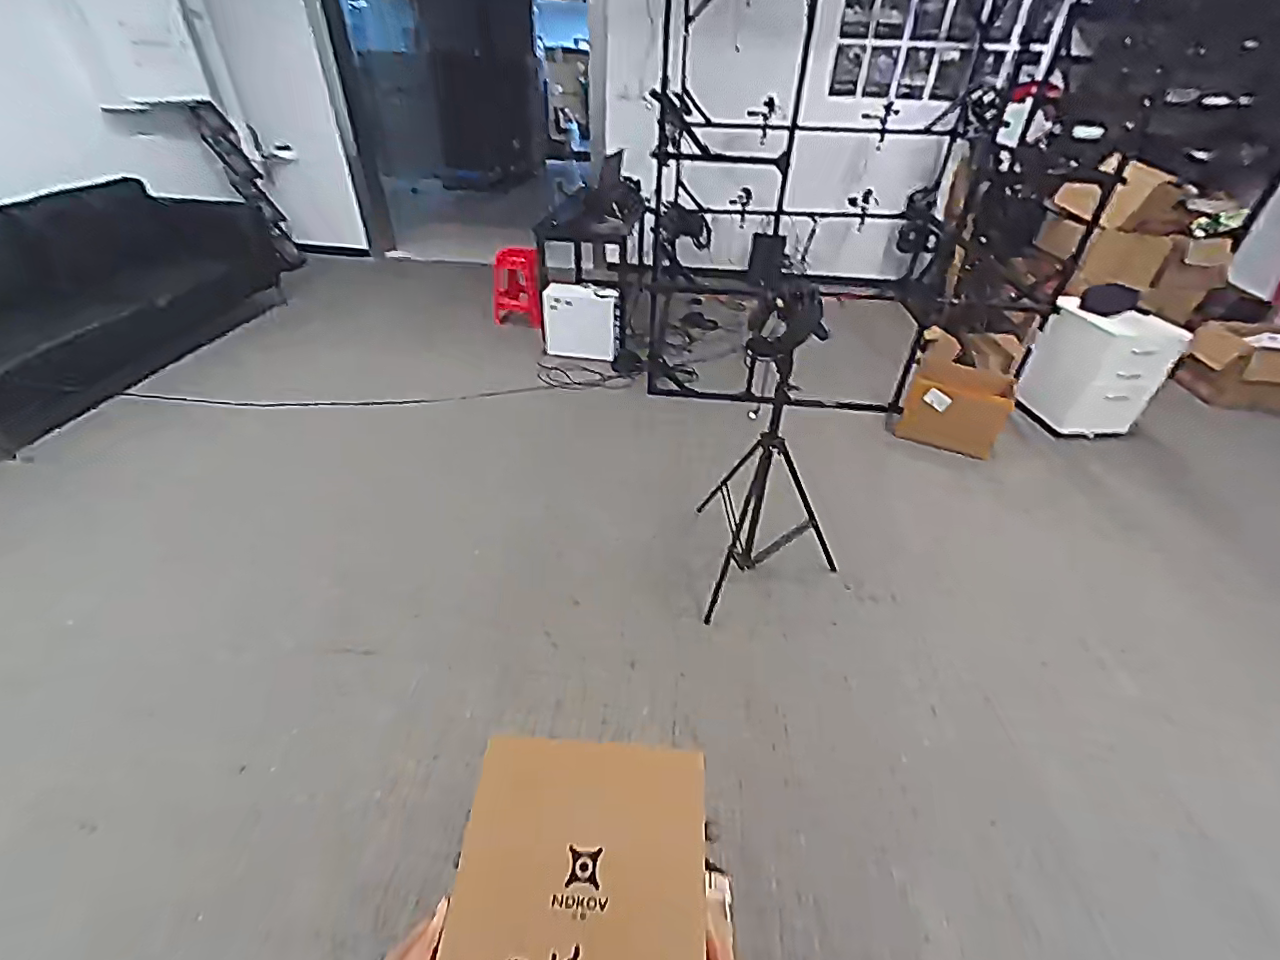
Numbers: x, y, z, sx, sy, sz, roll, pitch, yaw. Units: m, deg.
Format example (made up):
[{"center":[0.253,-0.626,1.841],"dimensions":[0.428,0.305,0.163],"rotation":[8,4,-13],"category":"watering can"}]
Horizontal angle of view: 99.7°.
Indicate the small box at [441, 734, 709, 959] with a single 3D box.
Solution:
[{"center":[-0.040,0.319,0.415],"dimensions":[0.168,0.176,0.179],"rotation":[4,48,1],"category":"small box"}]
